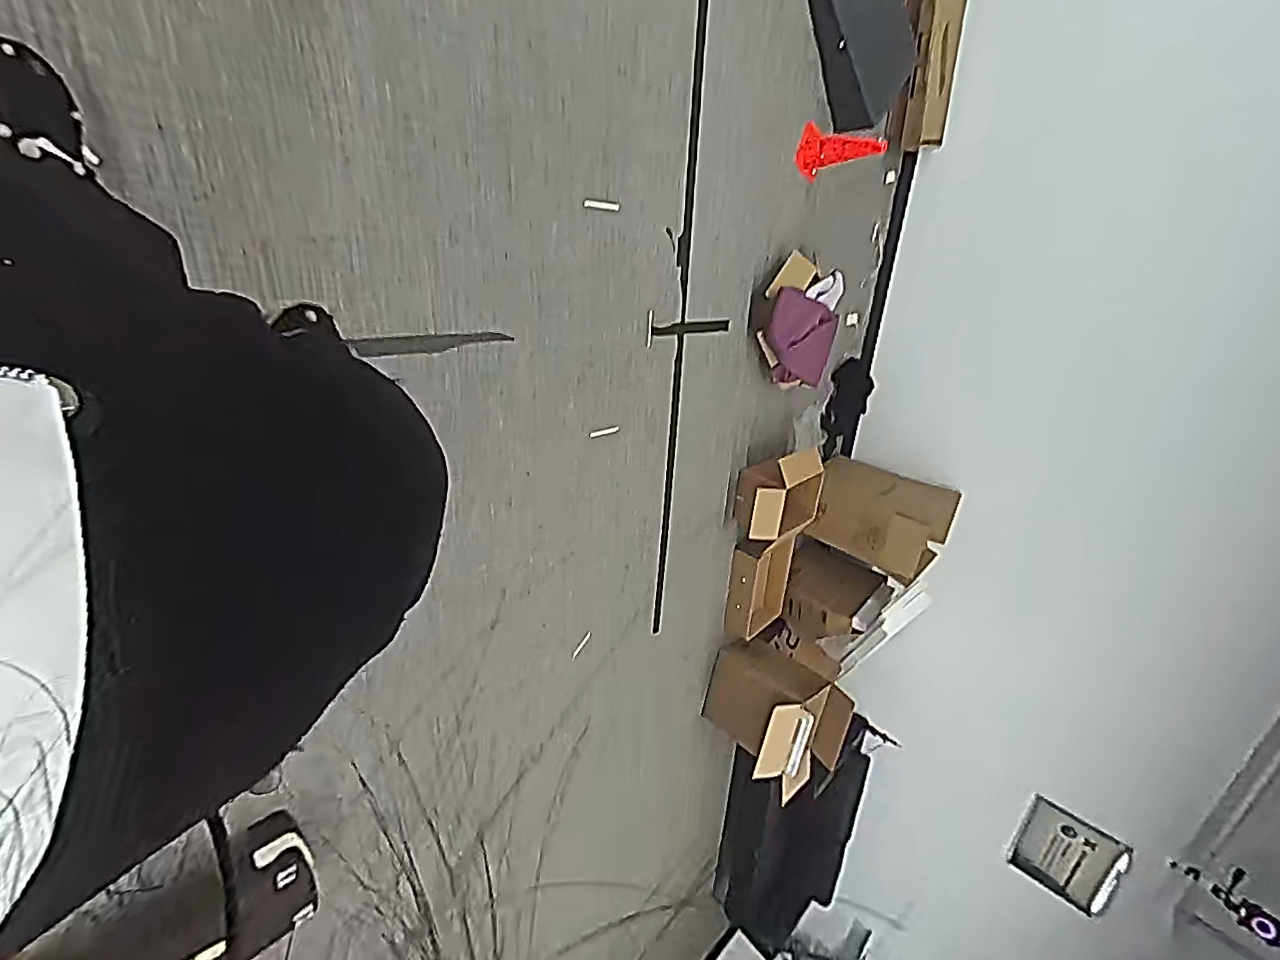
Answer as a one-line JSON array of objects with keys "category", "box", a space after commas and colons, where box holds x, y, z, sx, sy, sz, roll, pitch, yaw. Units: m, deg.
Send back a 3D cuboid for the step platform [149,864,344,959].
[{"category": "step platform", "box": [-1.114, 1.293, 1.298, 0.684, 0.204, 0.286, -21, 124, -41]}]
